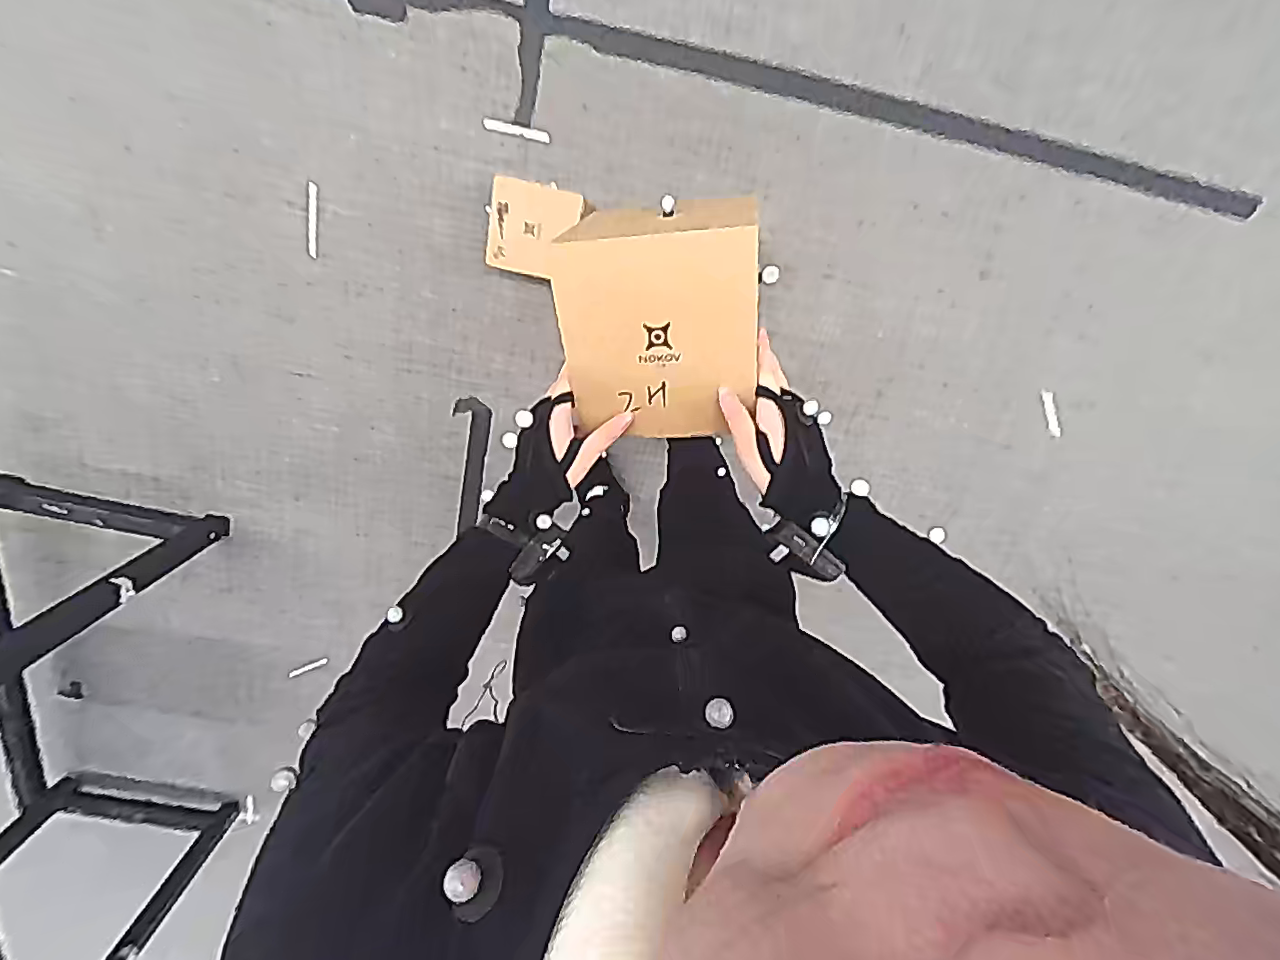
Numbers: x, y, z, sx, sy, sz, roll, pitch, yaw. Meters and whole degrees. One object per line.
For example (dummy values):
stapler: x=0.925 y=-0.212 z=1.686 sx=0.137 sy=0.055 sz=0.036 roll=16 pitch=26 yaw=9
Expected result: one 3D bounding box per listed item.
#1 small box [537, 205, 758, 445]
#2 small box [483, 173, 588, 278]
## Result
small box: x=0.021 y=-0.148 z=0.501 sx=0.168 sy=0.176 sz=0.179 roll=1 pitch=124 yaw=11
small box: x=-0.208 y=-0.512 z=1.113 sx=0.179 sy=0.176 sz=0.168 roll=12 pitch=112 yaw=-6
